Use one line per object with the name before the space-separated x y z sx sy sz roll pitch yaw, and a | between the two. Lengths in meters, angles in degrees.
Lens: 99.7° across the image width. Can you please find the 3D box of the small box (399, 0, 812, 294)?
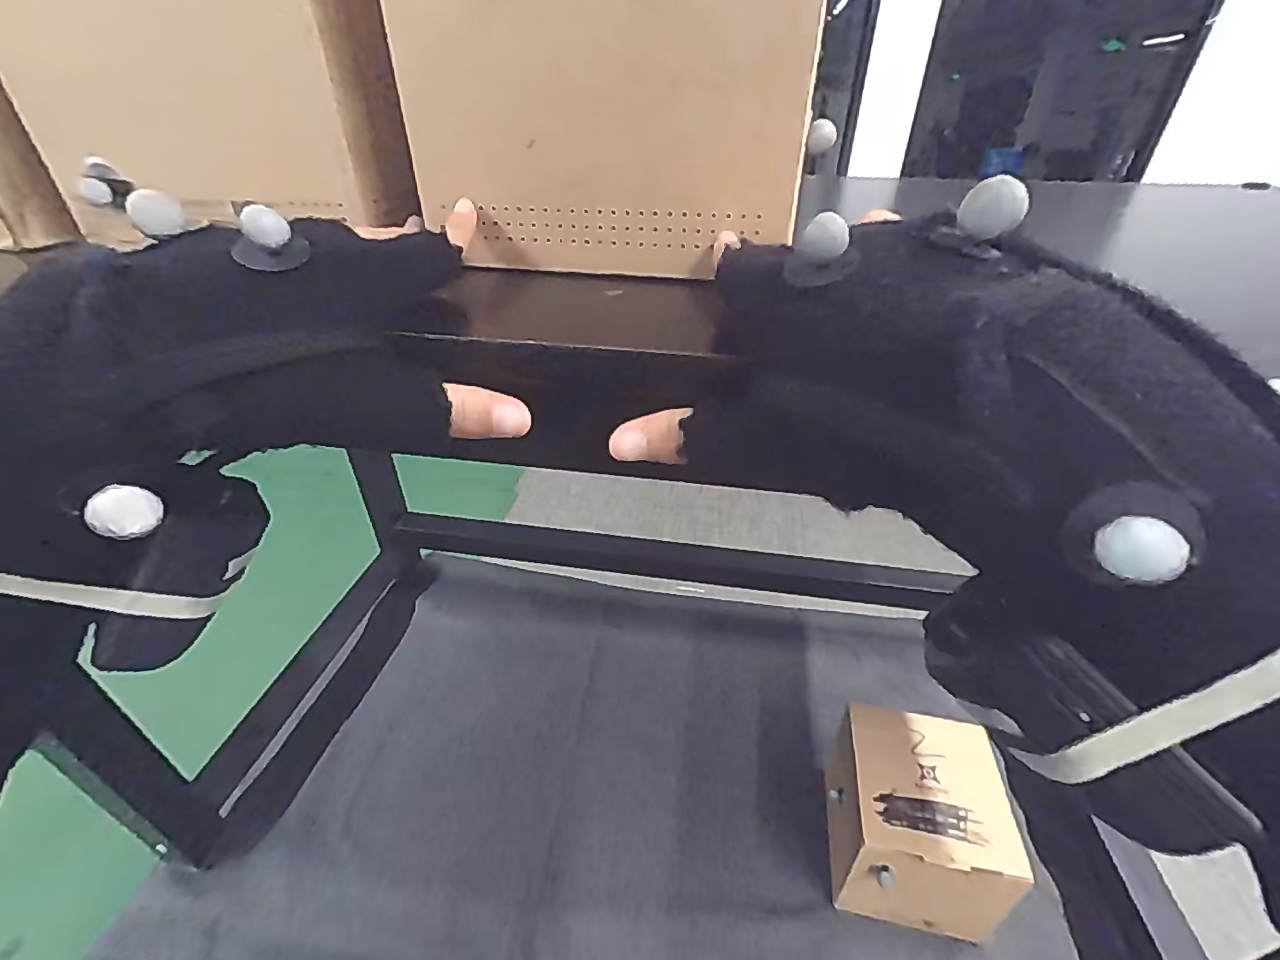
small box | -0.006 -0.203 0.283 0.179 0.176 0.168 8 35 10
